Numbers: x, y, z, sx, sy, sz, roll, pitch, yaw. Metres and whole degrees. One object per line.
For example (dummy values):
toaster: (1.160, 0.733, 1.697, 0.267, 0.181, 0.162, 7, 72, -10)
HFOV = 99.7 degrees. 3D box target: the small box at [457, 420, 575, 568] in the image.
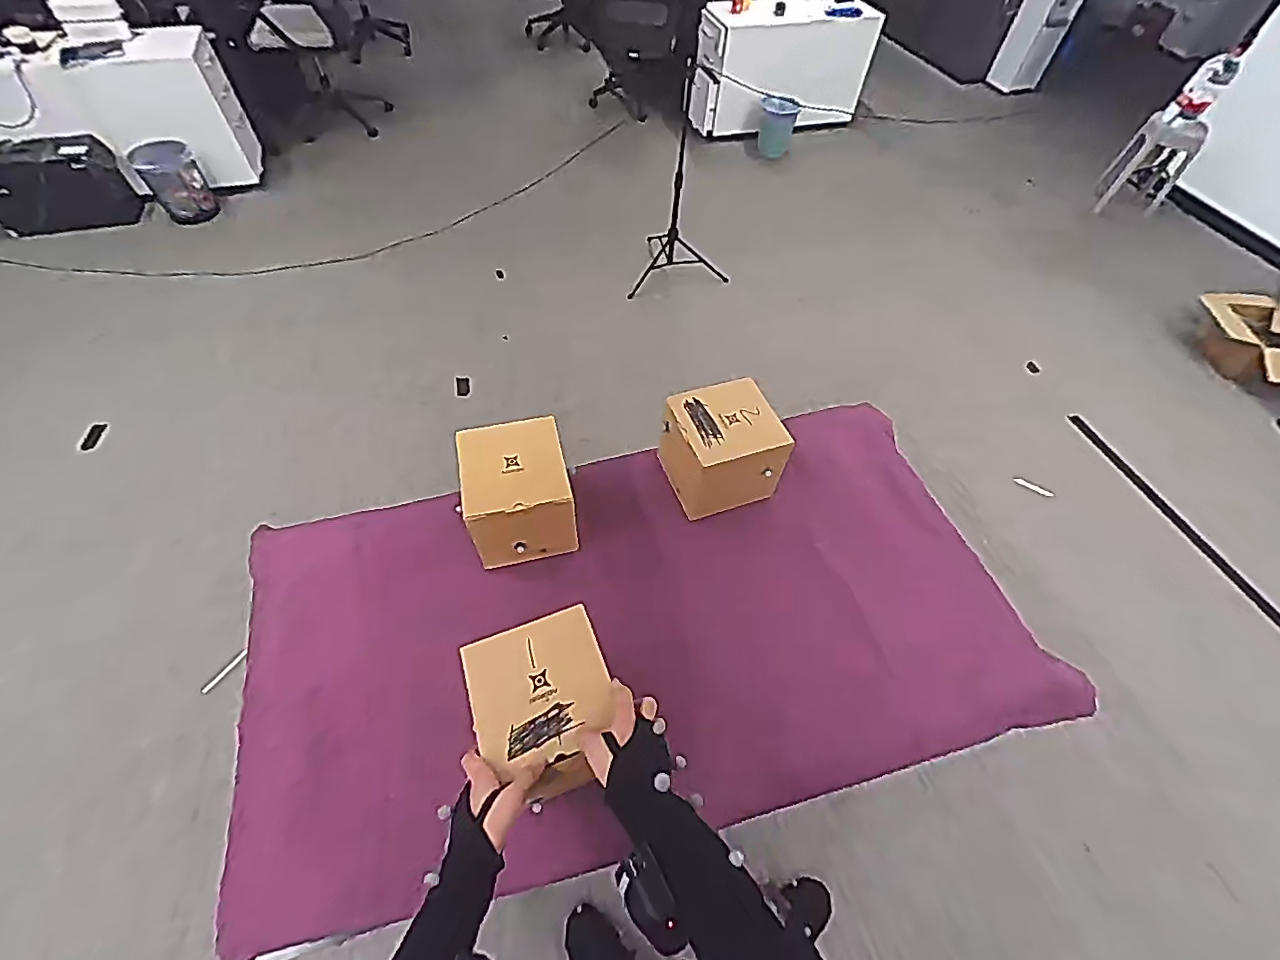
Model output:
small box: (-0.209, 0.025, 0.925, 0.168, 0.176, 0.179, -11, 56, -11)

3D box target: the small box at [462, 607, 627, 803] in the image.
small box: (-0.119, 0.301, 0.712, 0.168, 0.176, 0.179, -17, 54, -13)
